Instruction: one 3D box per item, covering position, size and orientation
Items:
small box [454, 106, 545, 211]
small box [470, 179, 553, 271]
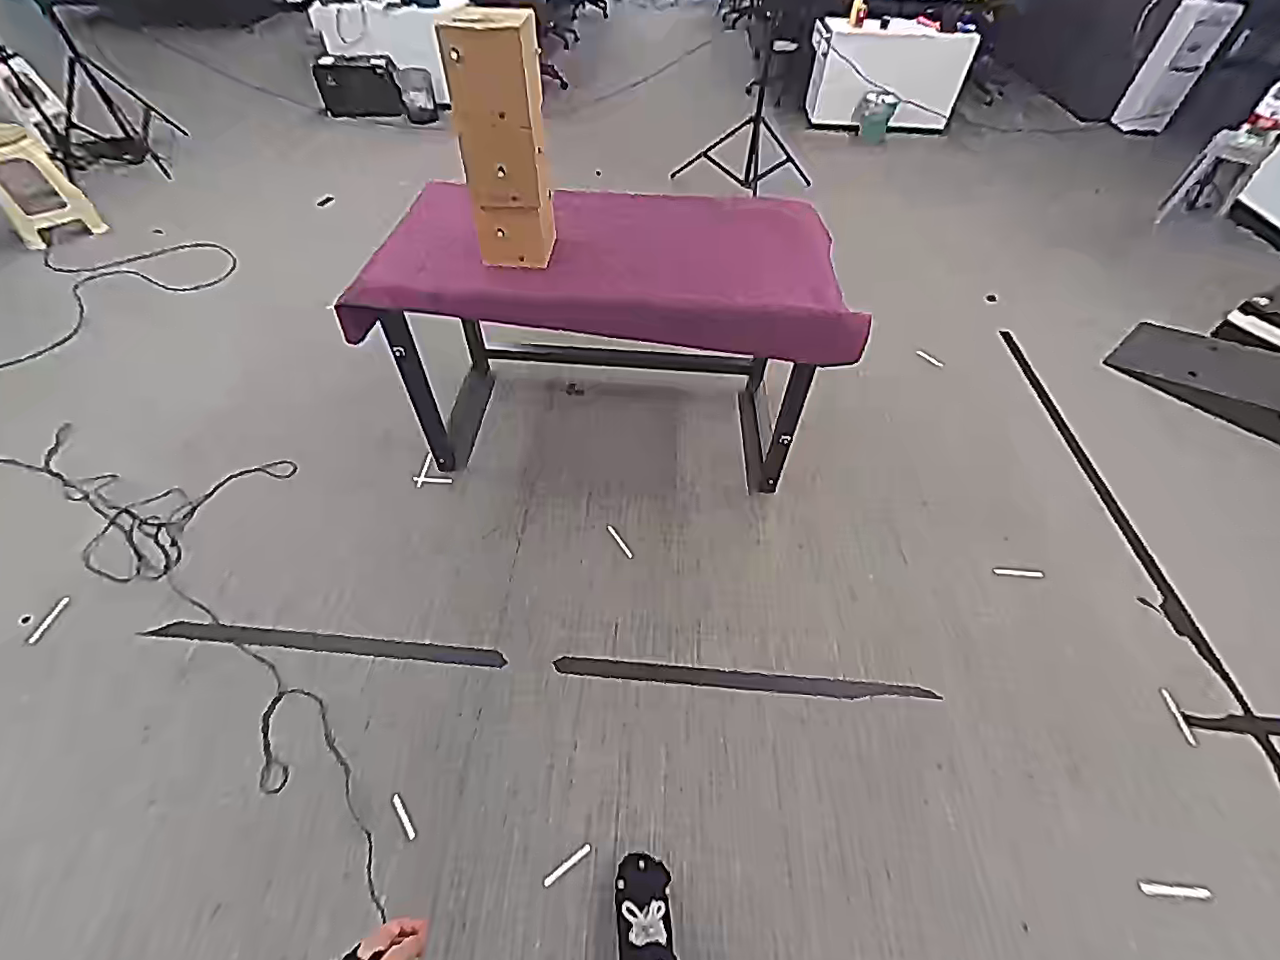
[{"bbox_3d":[-0.319,-0.750,1.266,0.168,0.176,0.179,0,51,-2],"label":"small box"},{"bbox_3d":[-0.325,-0.663,1.406,0.168,0.176,0.179,3,50,1],"label":"small box"}]
